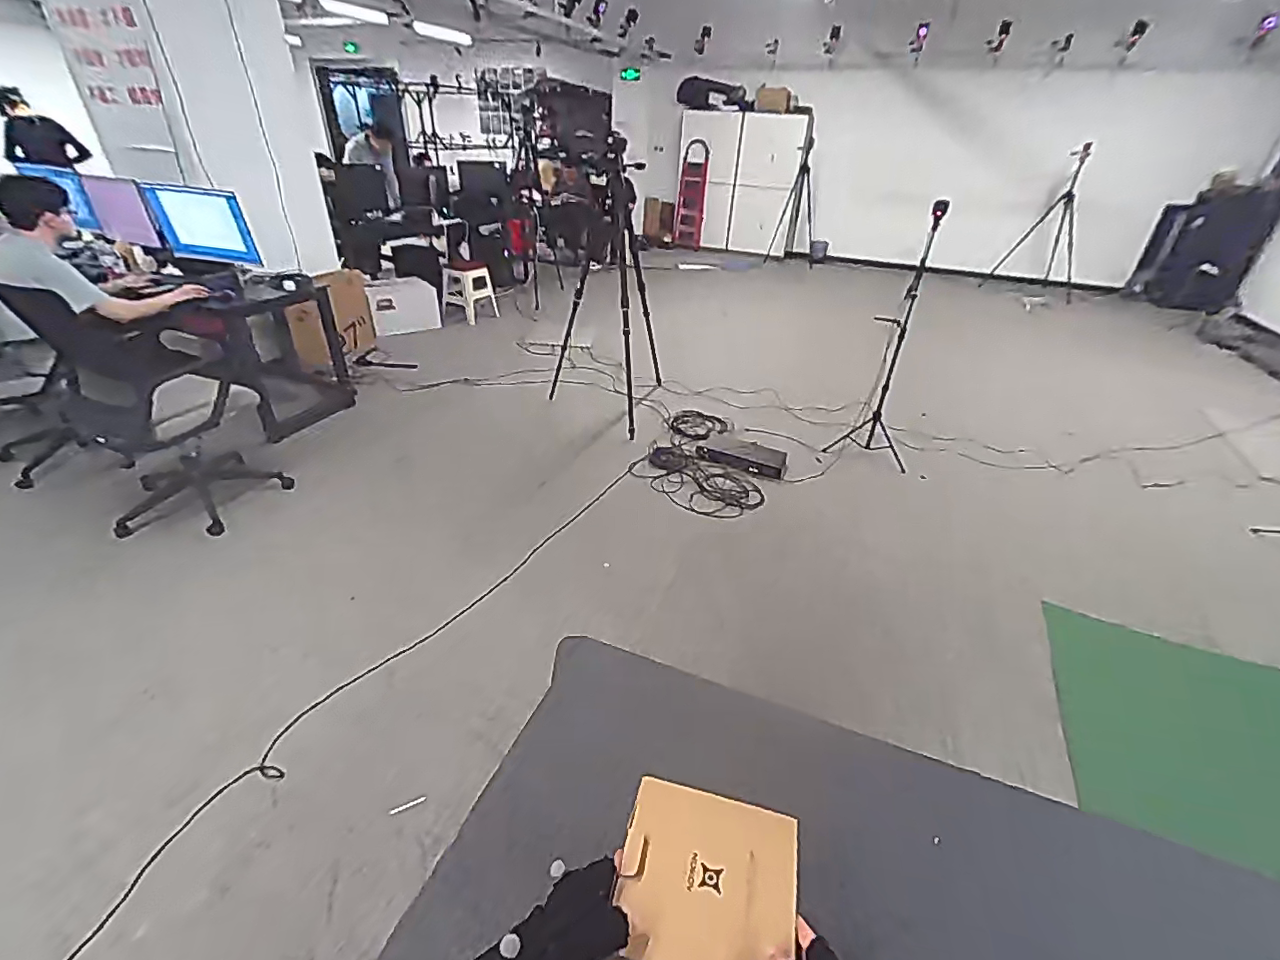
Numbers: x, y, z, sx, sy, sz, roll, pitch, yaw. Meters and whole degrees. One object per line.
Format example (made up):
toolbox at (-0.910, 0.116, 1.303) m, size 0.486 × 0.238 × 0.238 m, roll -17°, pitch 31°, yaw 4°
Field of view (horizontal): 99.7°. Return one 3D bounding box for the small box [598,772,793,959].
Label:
small box at (0.058, 0.458, 0.580) m, size 0.179 × 0.176 × 0.168 m, roll 11°, pitch 33°, yaw 10°
